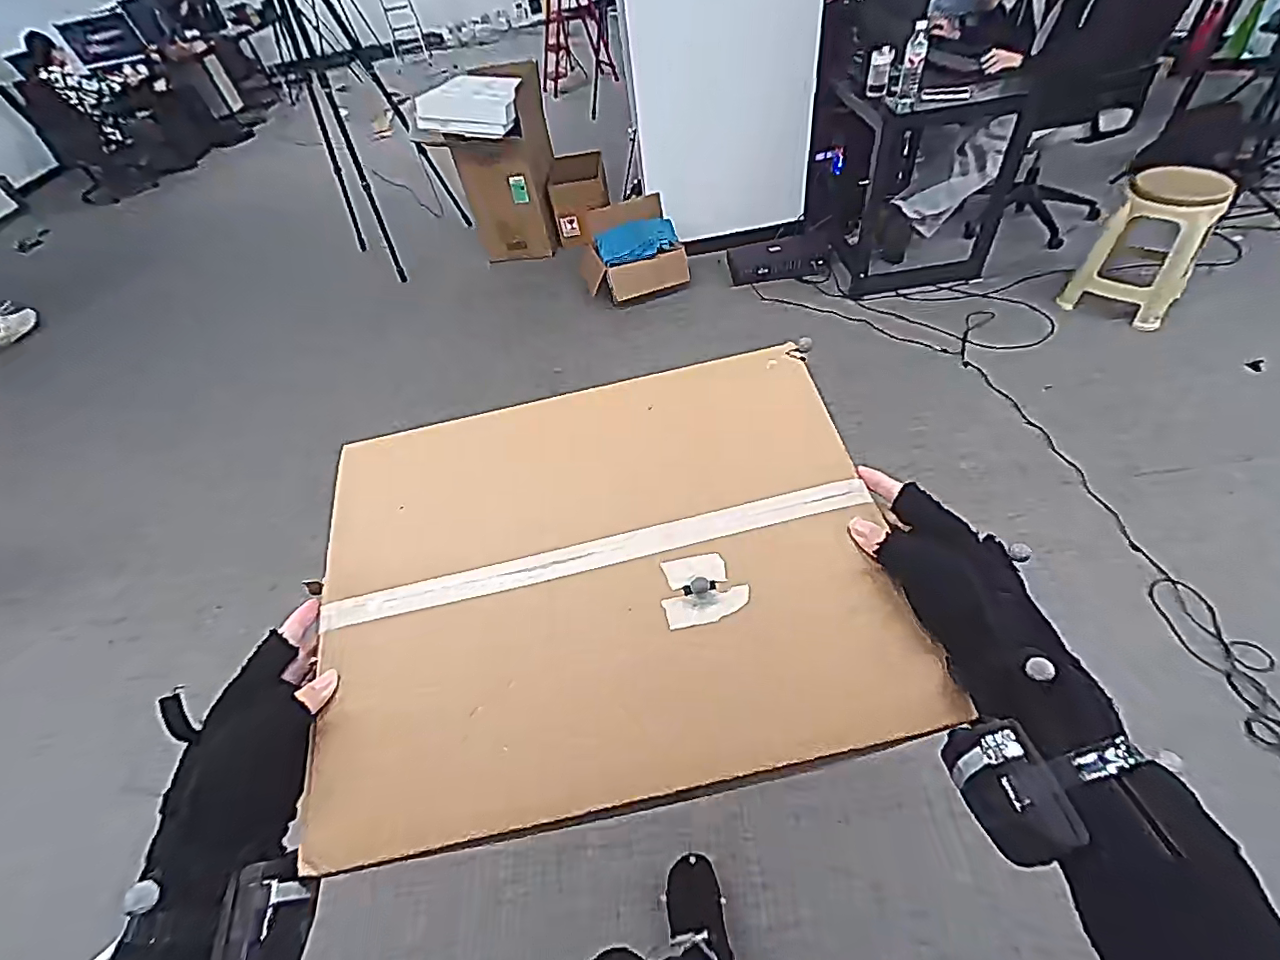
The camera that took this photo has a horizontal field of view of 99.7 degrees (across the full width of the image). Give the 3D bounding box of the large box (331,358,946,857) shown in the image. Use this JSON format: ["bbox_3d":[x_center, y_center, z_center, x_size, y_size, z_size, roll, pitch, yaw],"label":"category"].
[{"bbox_3d":[-0.014,0.135,0.537,0.408,0.320,0.320,-13,59,-1],"label":"large box"}]
